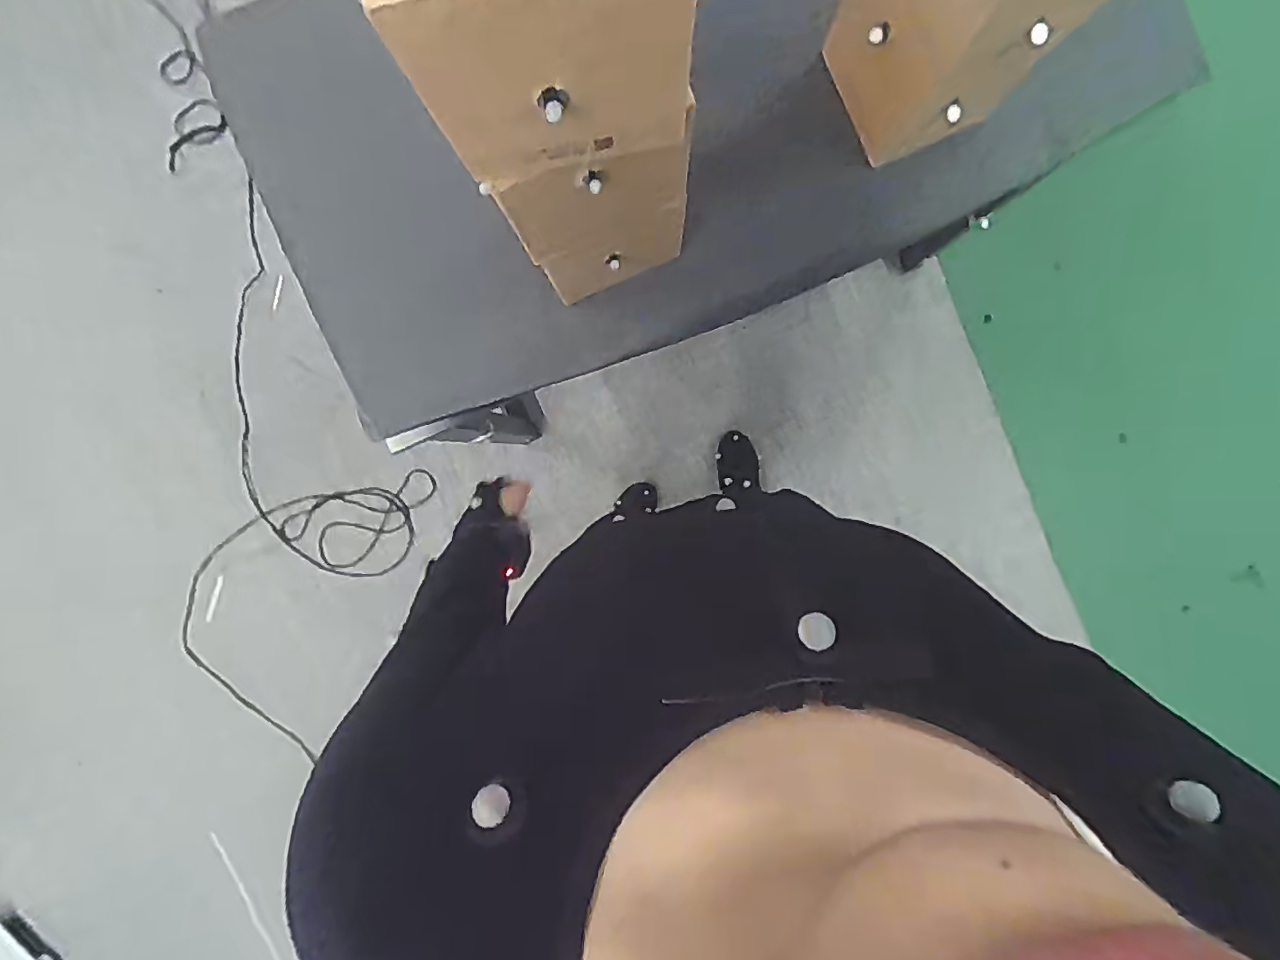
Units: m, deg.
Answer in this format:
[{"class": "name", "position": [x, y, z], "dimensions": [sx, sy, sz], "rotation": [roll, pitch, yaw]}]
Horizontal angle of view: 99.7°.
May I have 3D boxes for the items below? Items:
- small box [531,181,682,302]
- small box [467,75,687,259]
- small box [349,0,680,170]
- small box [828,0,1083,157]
[{"class": "small box", "position": [-0.061, -0.341, 0.653], "dimensions": [0.179, 0.176, 0.168], "rotation": [-22, 91, 4]}, {"class": "small box", "position": [-0.068, -0.330, 0.492], "dimensions": [0.179, 0.176, 0.168], "rotation": [-22, 93, 2]}, {"class": "small box", "position": [-0.067, -0.317, 0.327], "dimensions": [0.168, 0.176, 0.179], "rotation": [-9, 93, 2]}, {"class": "small box", "position": [0.348, -0.517, 0.632], "dimensions": [0.168, 0.176, 0.179], "rotation": [-23, 91, 3]}]
